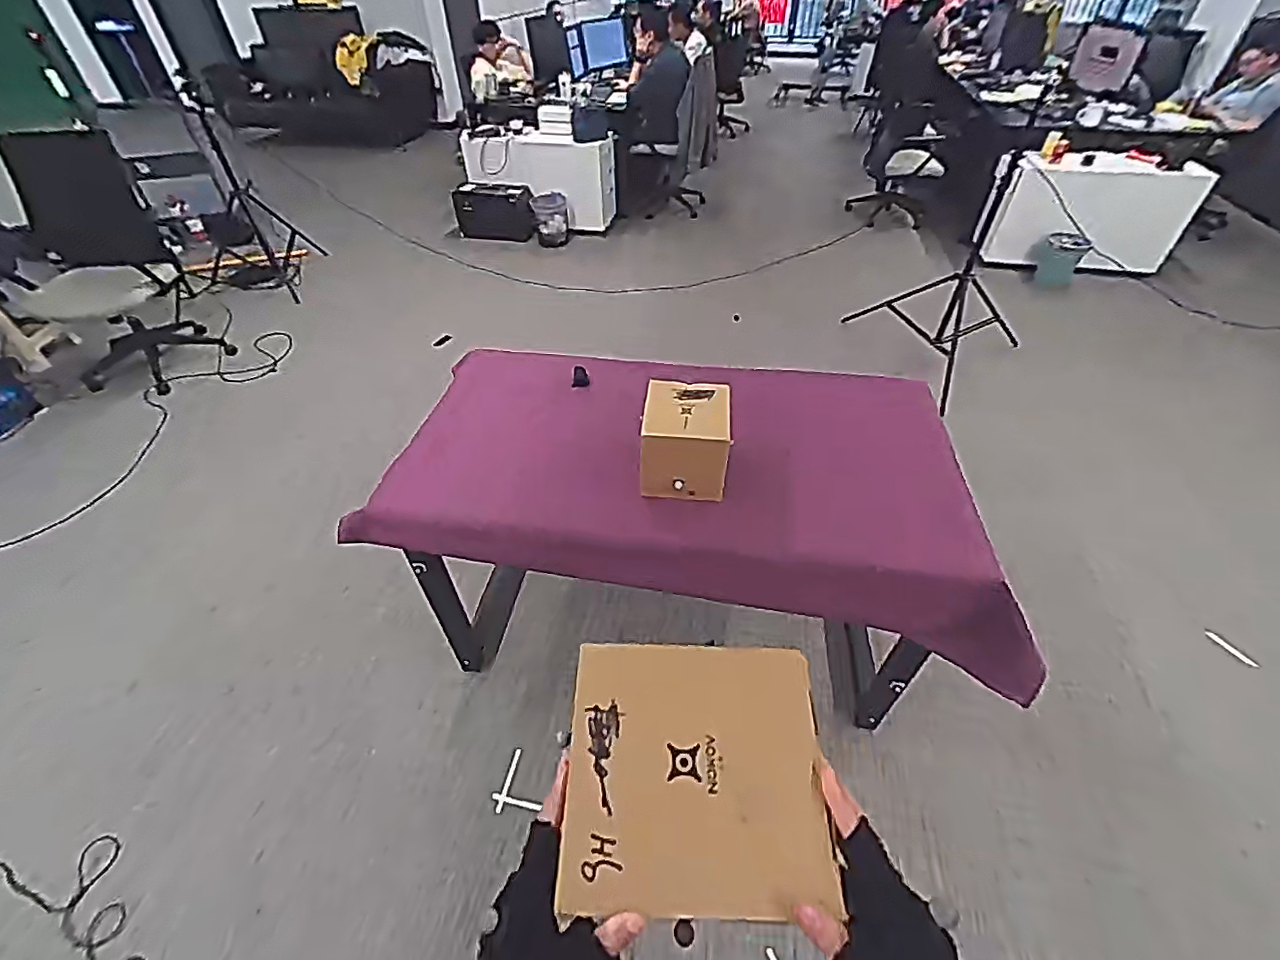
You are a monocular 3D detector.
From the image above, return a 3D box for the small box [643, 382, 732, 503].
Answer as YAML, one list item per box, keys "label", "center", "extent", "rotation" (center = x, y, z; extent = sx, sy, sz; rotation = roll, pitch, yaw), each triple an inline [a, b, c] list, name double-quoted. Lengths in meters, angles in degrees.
- label: "small box"
  center: [0.095, -0.077, 1.101]
  extent: [0.168, 0.176, 0.179]
  rotation: [4, 45, 5]
